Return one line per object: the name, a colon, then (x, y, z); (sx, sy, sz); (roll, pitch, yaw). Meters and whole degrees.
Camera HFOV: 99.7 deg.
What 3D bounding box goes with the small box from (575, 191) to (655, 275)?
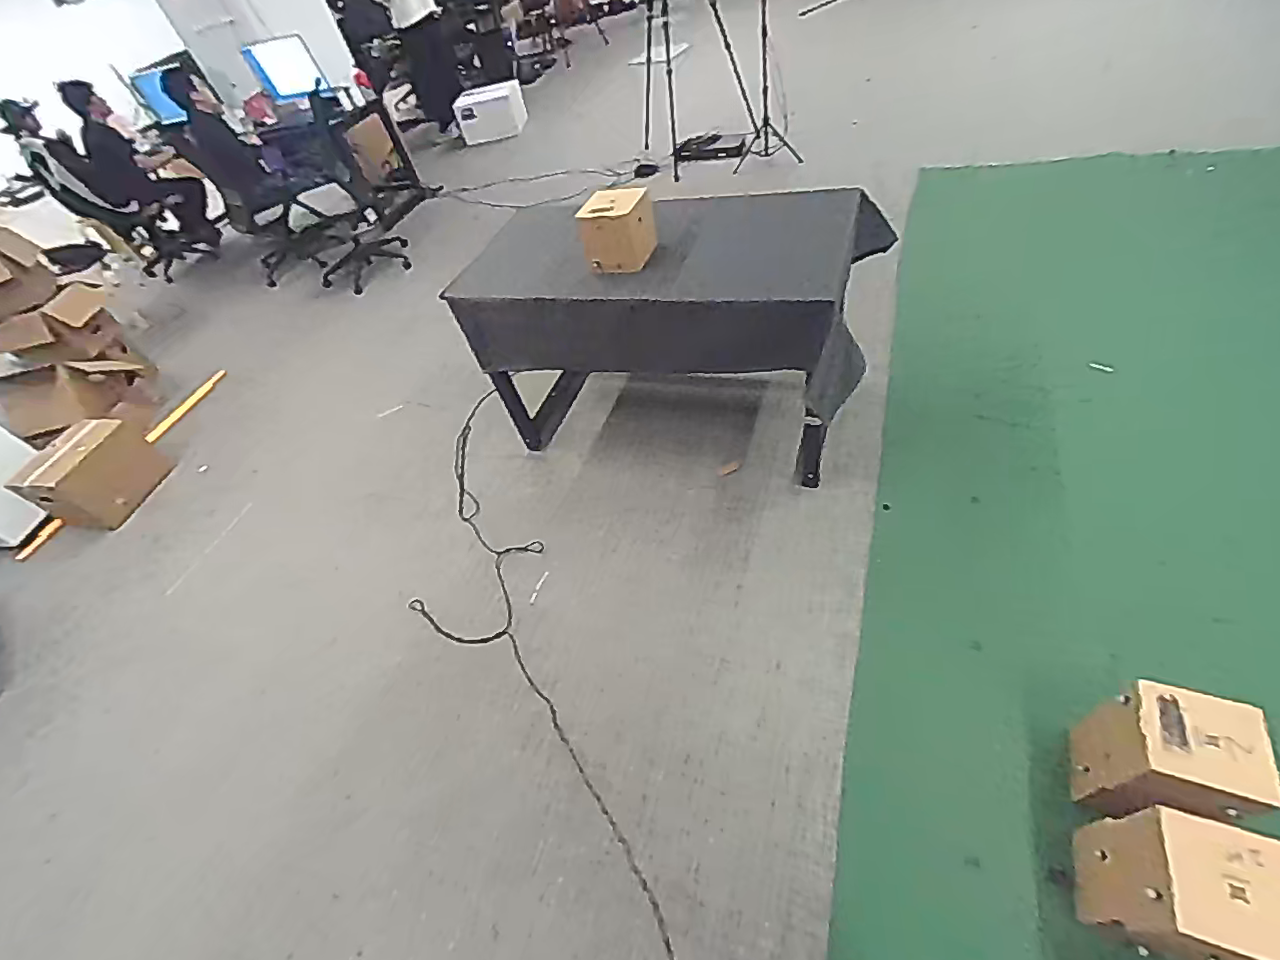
small box: (-0.066, -0.723, 1.595); (0.168, 0.176, 0.179); (8, 51, 21)
